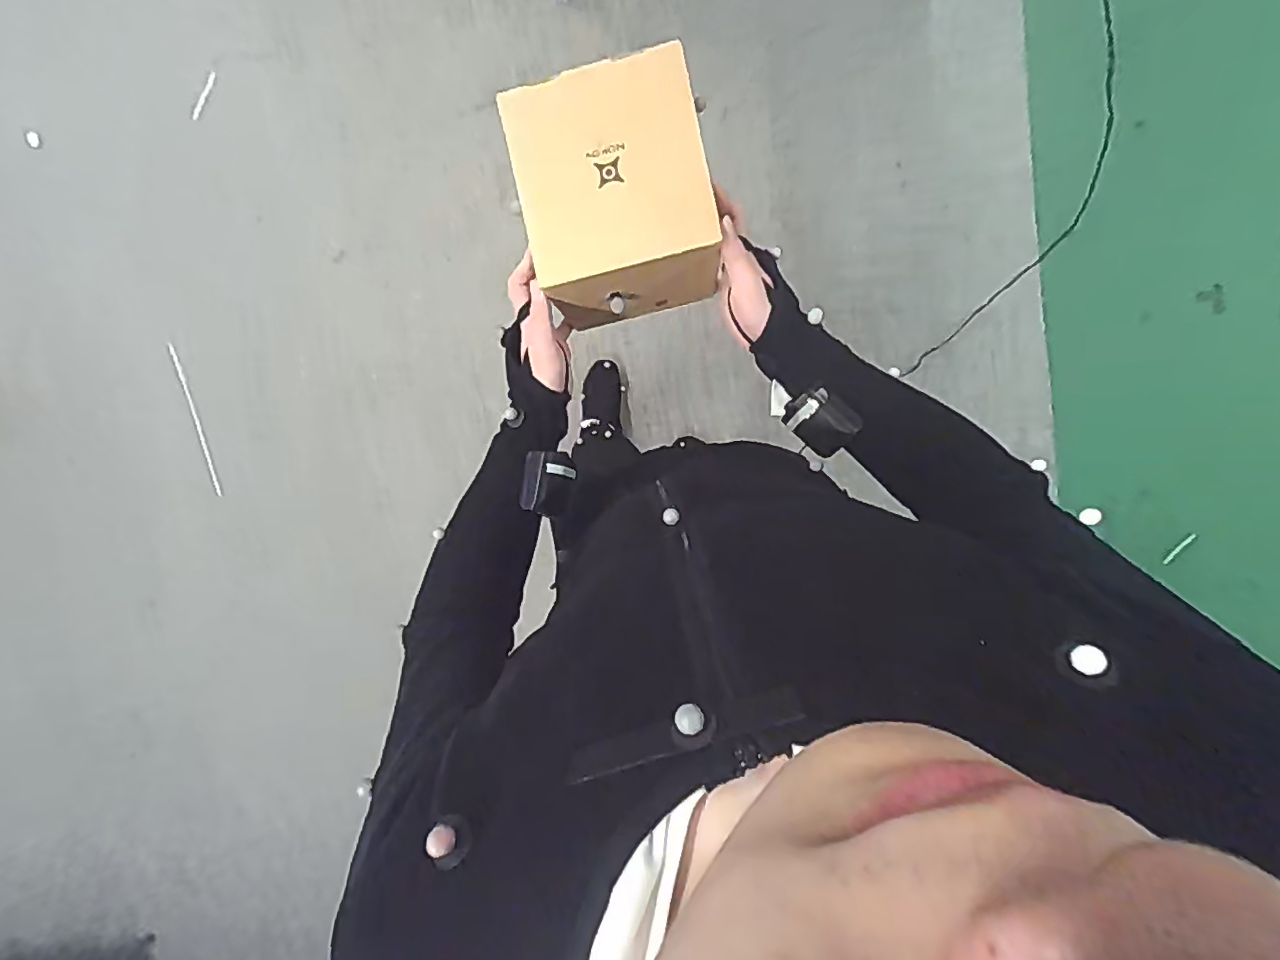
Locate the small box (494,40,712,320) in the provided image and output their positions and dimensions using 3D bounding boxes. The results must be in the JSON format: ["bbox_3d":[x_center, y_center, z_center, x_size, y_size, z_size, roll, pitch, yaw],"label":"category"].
[{"bbox_3d":[-0.024,-0.273,0.543,0.168,0.176,0.179,-12,90,6],"label":"small box"}]

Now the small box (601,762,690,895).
[{"bbox_3d":[0.013,0.757,1.191,0.168,0.176,0.179,8,98,1],"label":"small box"}]
